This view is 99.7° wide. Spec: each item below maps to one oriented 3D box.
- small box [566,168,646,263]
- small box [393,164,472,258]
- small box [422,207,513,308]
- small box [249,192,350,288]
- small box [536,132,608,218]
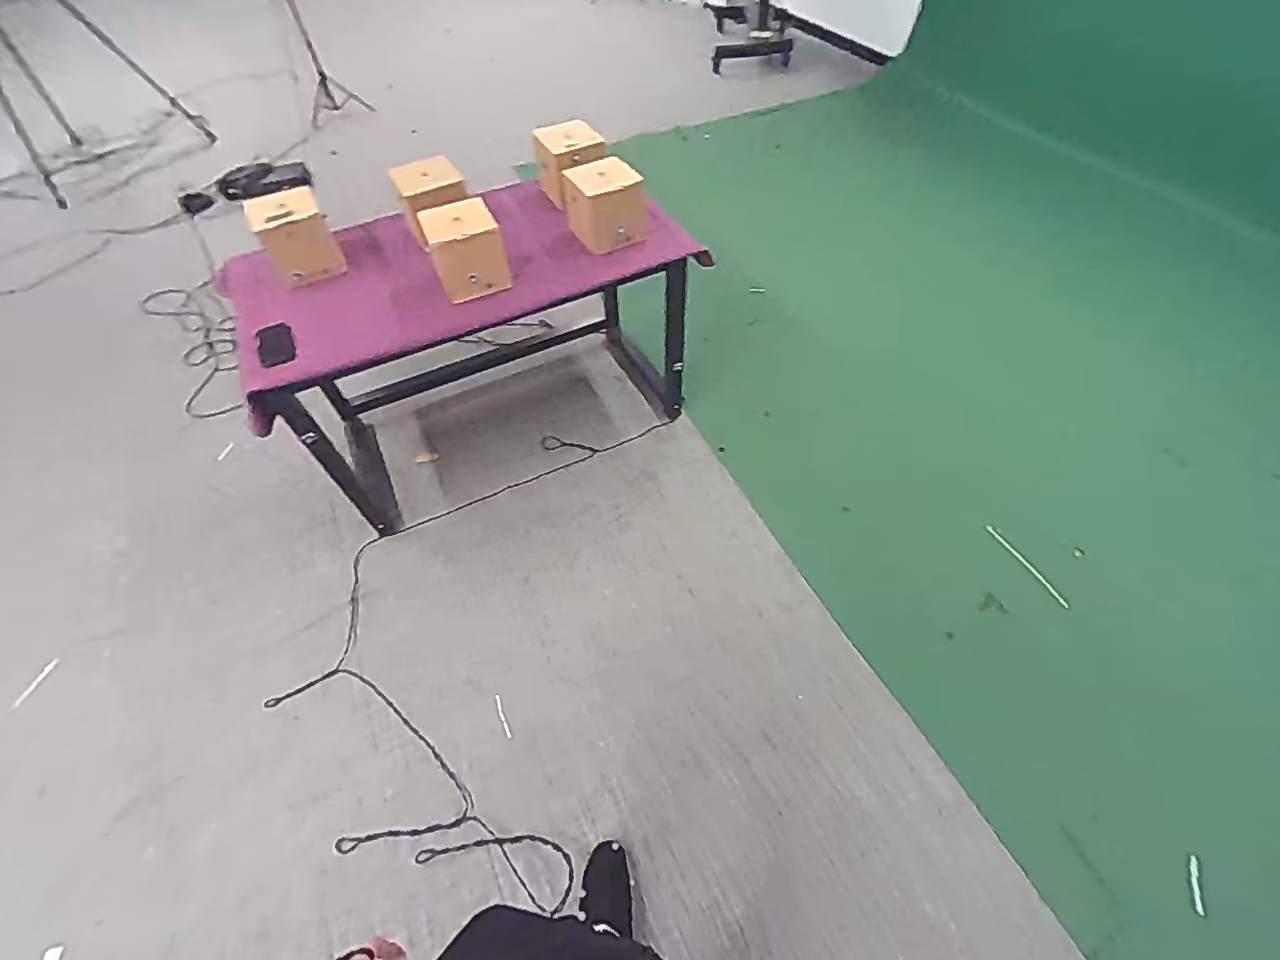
[{"bbox_3d":[-0.093,-0.745,1.524,0.168,0.176,0.179,-24,56,-14],"label":"small box"},{"bbox_3d":[-0.584,-0.775,1.561,0.168,0.176,0.179,-26,58,-16],"label":"small box"},{"bbox_3d":[-0.448,-0.580,1.414,0.168,0.176,0.179,-21,55,-14],"label":"small box"},{"bbox_3d":[-0.918,-0.644,1.468,0.168,0.176,0.179,-26,57,-17],"label":"small box"},{"bbox_3d":[-0.206,-0.944,1.676,0.168,0.176,0.179,-25,57,-15],"label":"small box"}]
